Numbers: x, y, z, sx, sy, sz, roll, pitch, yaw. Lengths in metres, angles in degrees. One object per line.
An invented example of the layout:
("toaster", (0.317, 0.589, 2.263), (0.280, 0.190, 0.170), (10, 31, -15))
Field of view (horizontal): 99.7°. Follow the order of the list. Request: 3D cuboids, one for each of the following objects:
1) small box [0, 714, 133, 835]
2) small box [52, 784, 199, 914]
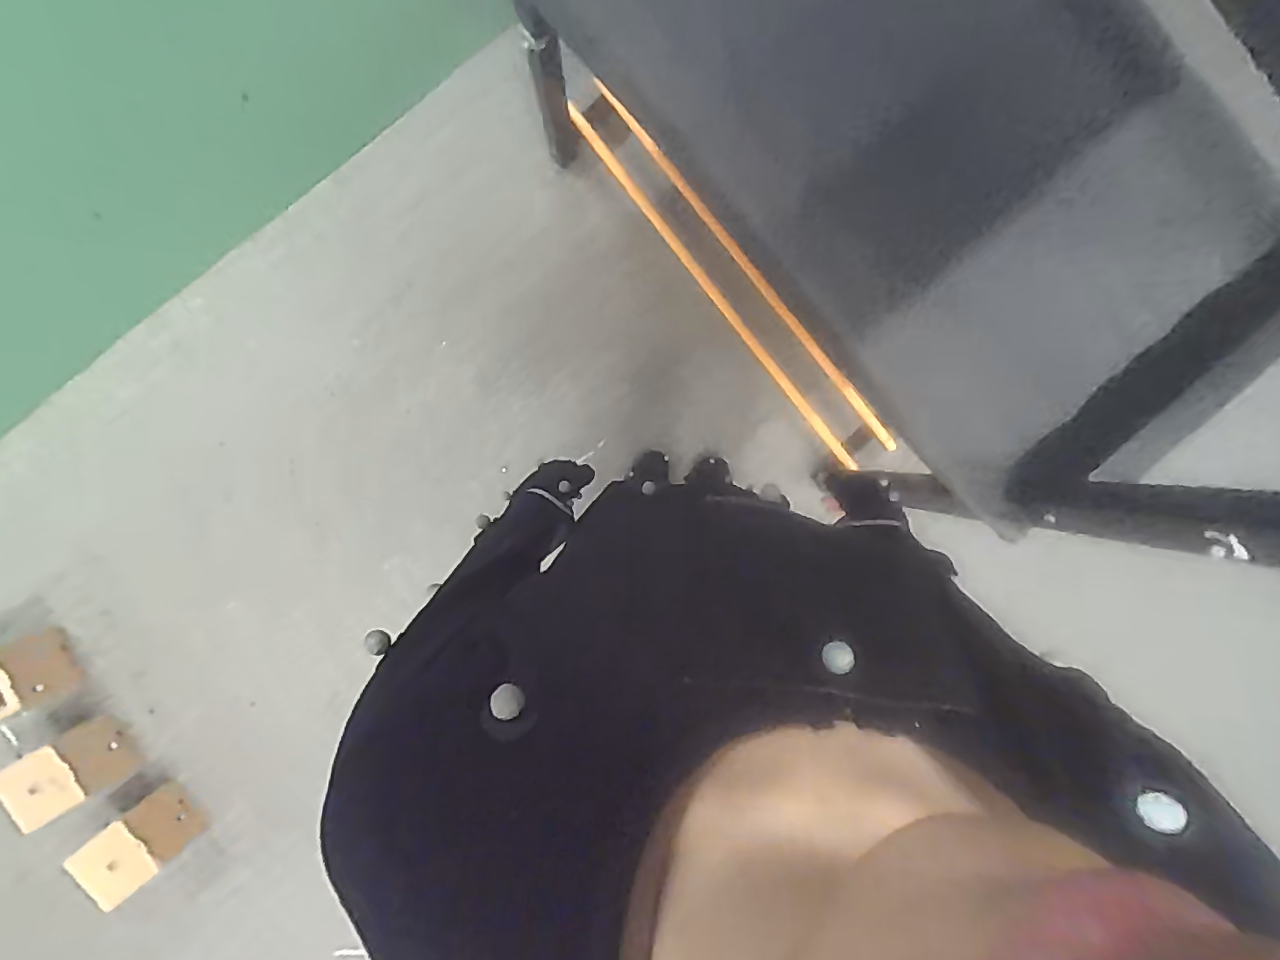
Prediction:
("small box", (-1.458, 0.731, 1.361), (0.179, 0.176, 0.168), (-30, 93, -2))
("small box", (-1.294, 0.928, 1.375), (0.179, 0.176, 0.168), (-38, 93, -1))
